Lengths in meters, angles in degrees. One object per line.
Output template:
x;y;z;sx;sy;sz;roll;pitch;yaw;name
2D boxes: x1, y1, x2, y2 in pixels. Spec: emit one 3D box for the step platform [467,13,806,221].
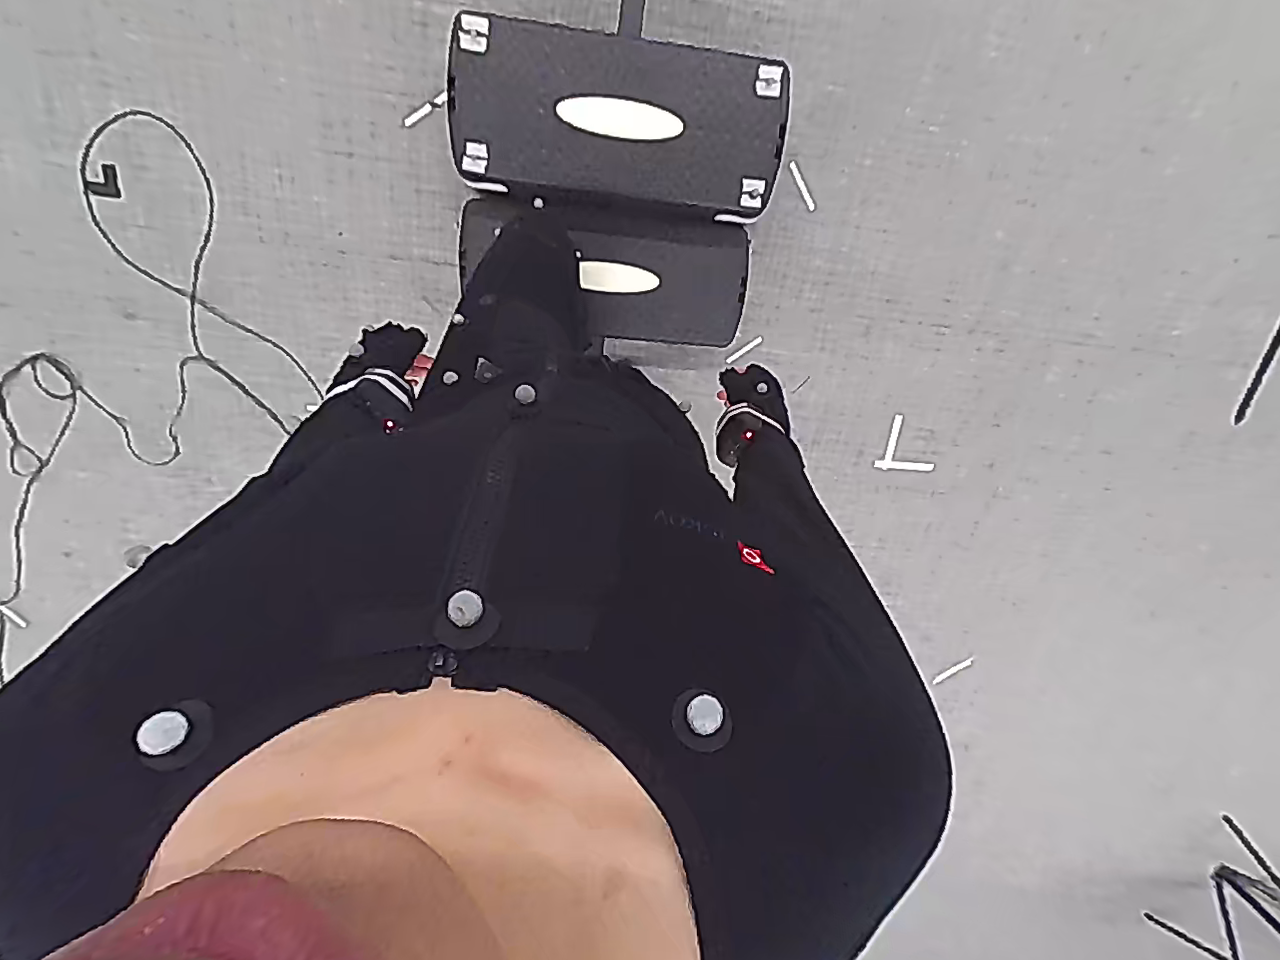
-0.009;-0.744;1.144;0.684;0.204;0.286;4;110;-6;step platform
